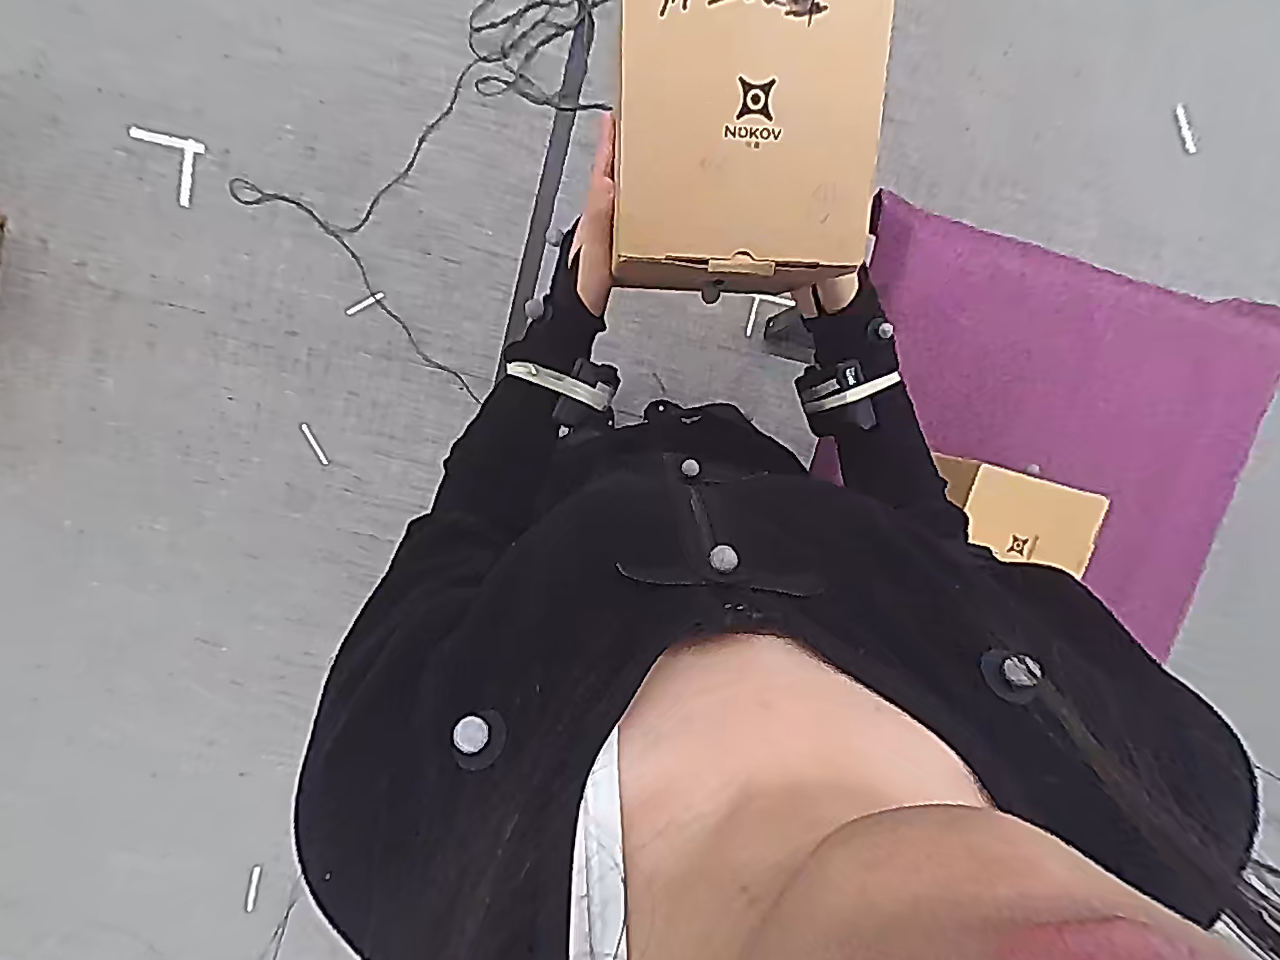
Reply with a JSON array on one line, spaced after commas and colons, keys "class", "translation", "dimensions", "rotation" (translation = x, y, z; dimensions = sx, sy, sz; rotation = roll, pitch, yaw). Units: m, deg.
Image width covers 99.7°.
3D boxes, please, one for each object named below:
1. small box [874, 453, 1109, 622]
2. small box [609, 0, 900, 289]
[{"class": "small box", "translation": [0.449, 0.064, 0.722], "dimensions": [0.179, 0.176, 0.168], "rotation": [15, 97, -7]}, {"class": "small box", "translation": [0.064, -0.244, 0.409], "dimensions": [0.168, 0.176, 0.179], "rotation": [0, 104, -6]}]
